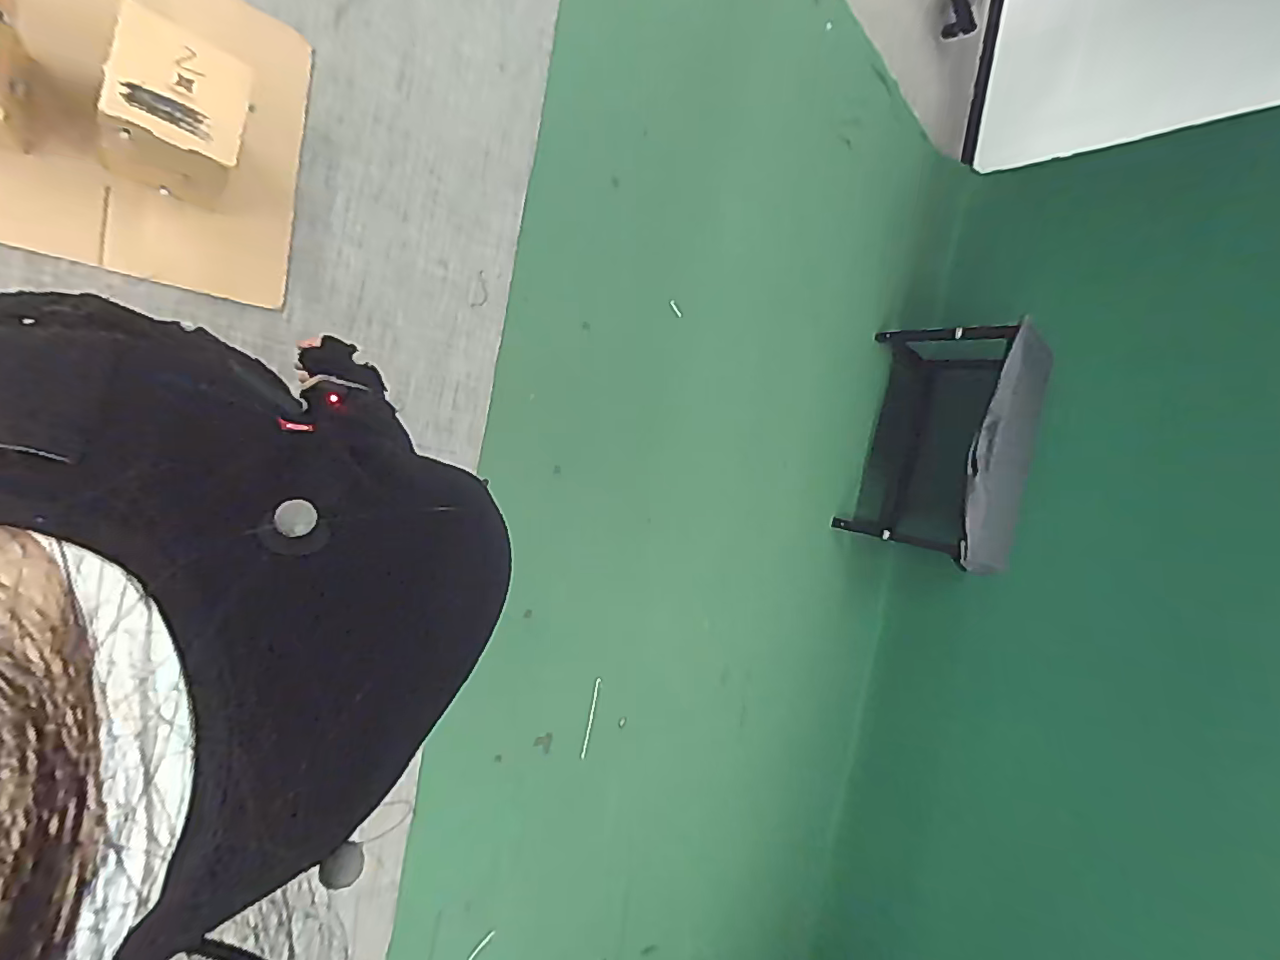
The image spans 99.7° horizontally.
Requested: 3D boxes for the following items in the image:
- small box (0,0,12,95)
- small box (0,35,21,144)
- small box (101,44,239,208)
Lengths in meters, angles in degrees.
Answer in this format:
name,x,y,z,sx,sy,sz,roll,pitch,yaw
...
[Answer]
name,x,y,z,sx,sy,sz,roll,pitch,yaw
small box,-0.969,-0.660,0.712,0.168,0.176,0.179,7,93,-44
small box,-1.087,-0.656,0.828,0.168,0.176,0.179,3,96,-43
small box,-0.884,-0.651,1.020,0.168,0.176,0.179,12,90,-42
